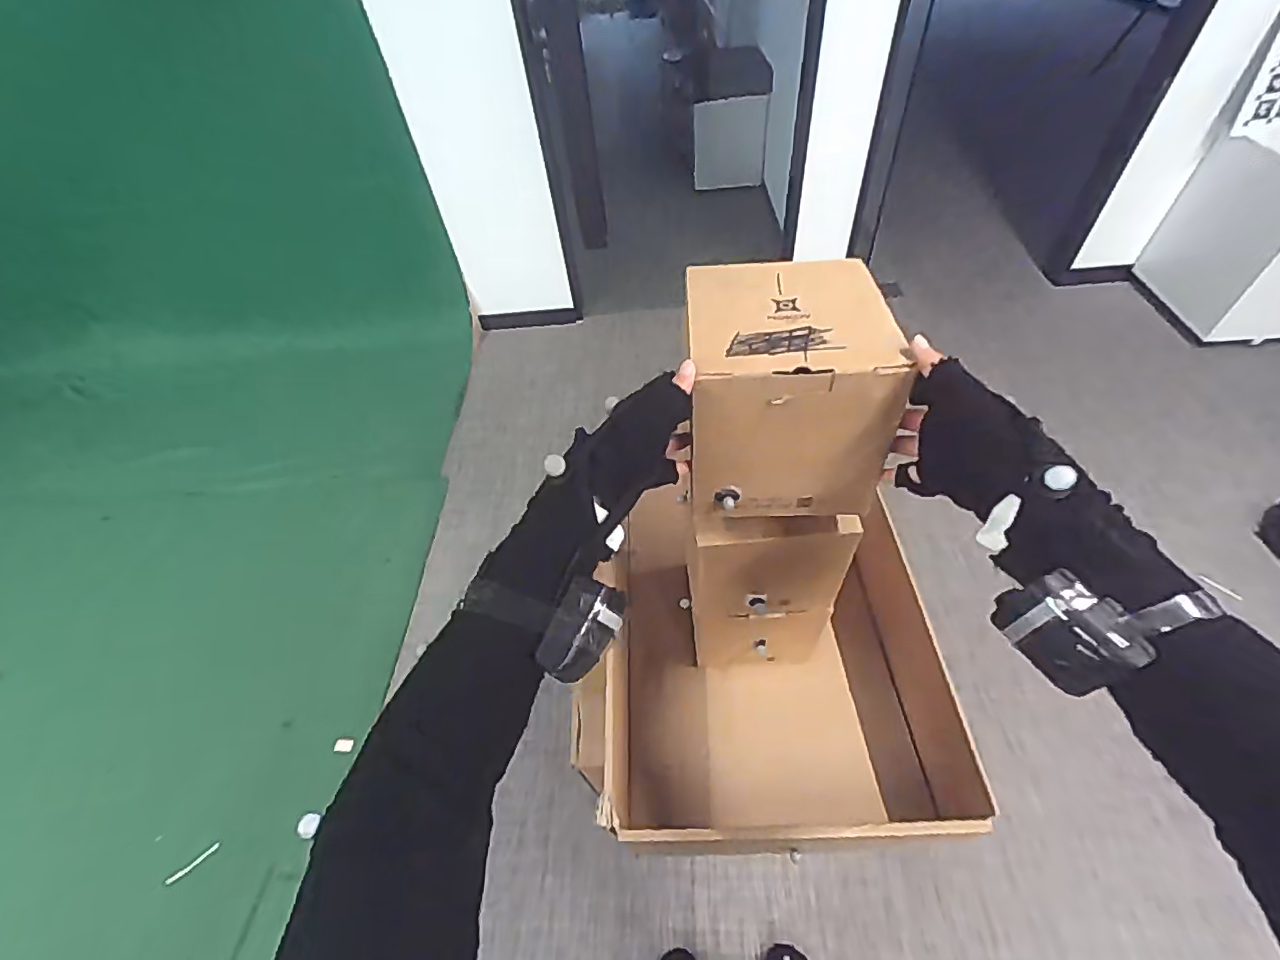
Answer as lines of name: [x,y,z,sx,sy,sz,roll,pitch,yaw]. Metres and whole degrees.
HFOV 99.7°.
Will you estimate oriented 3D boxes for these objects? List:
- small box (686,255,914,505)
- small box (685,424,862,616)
small box: [0.128,-0.089,0.511,0.168,0.176,0.179,-1,47,4]
small box: [0.142,0.043,0.653,0.168,0.176,0.179,-6,51,2]
